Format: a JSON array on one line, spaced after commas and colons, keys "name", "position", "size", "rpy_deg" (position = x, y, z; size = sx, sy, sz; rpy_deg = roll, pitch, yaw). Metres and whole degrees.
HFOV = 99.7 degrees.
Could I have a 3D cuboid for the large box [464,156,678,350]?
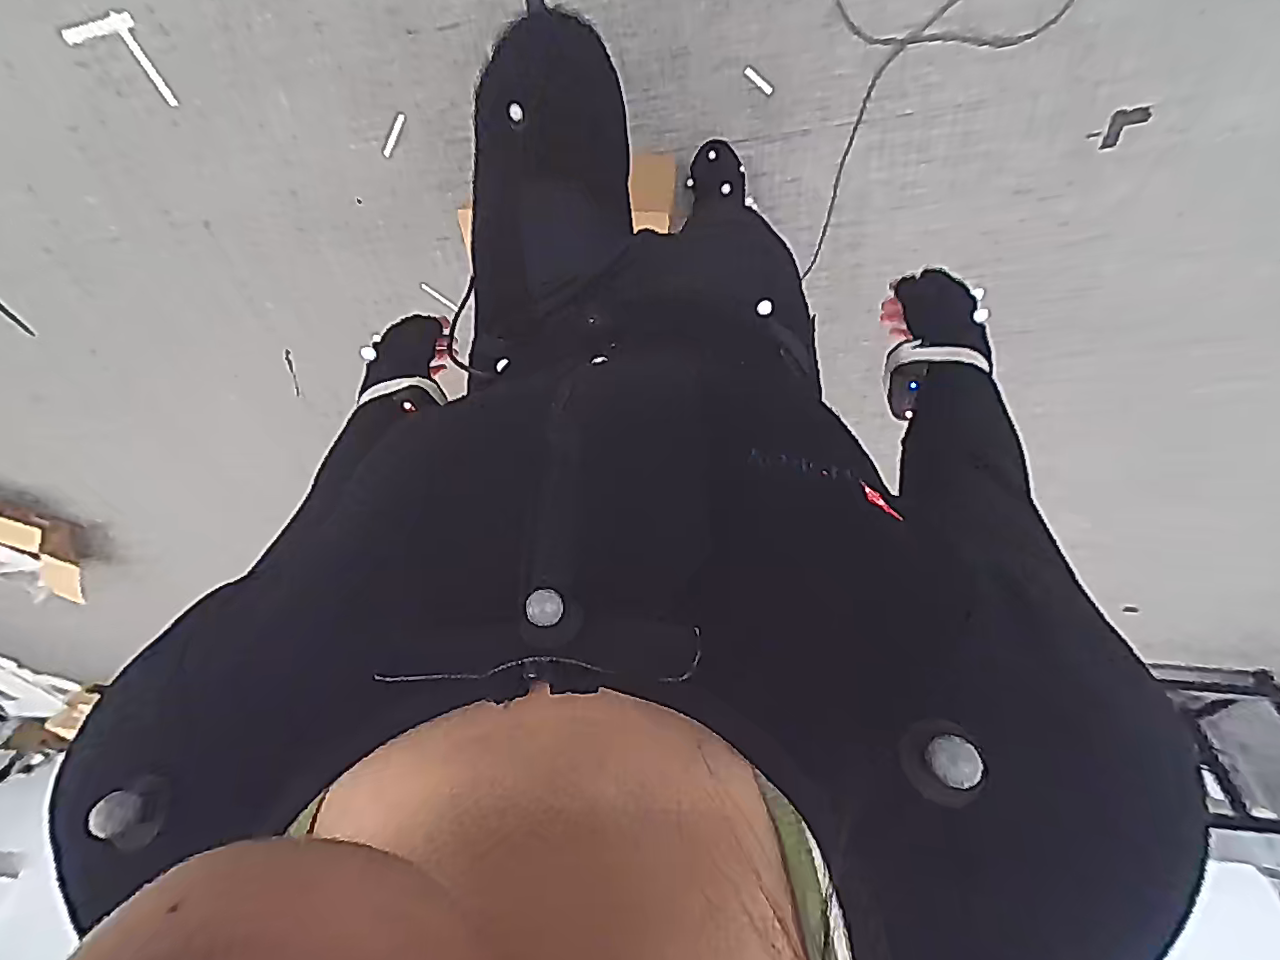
[{"name": "large box", "position": [-0.124, -0.514, 1.219], "size": [0.408, 0.320, 0.320], "rpy_deg": [3, 139, 4]}]
